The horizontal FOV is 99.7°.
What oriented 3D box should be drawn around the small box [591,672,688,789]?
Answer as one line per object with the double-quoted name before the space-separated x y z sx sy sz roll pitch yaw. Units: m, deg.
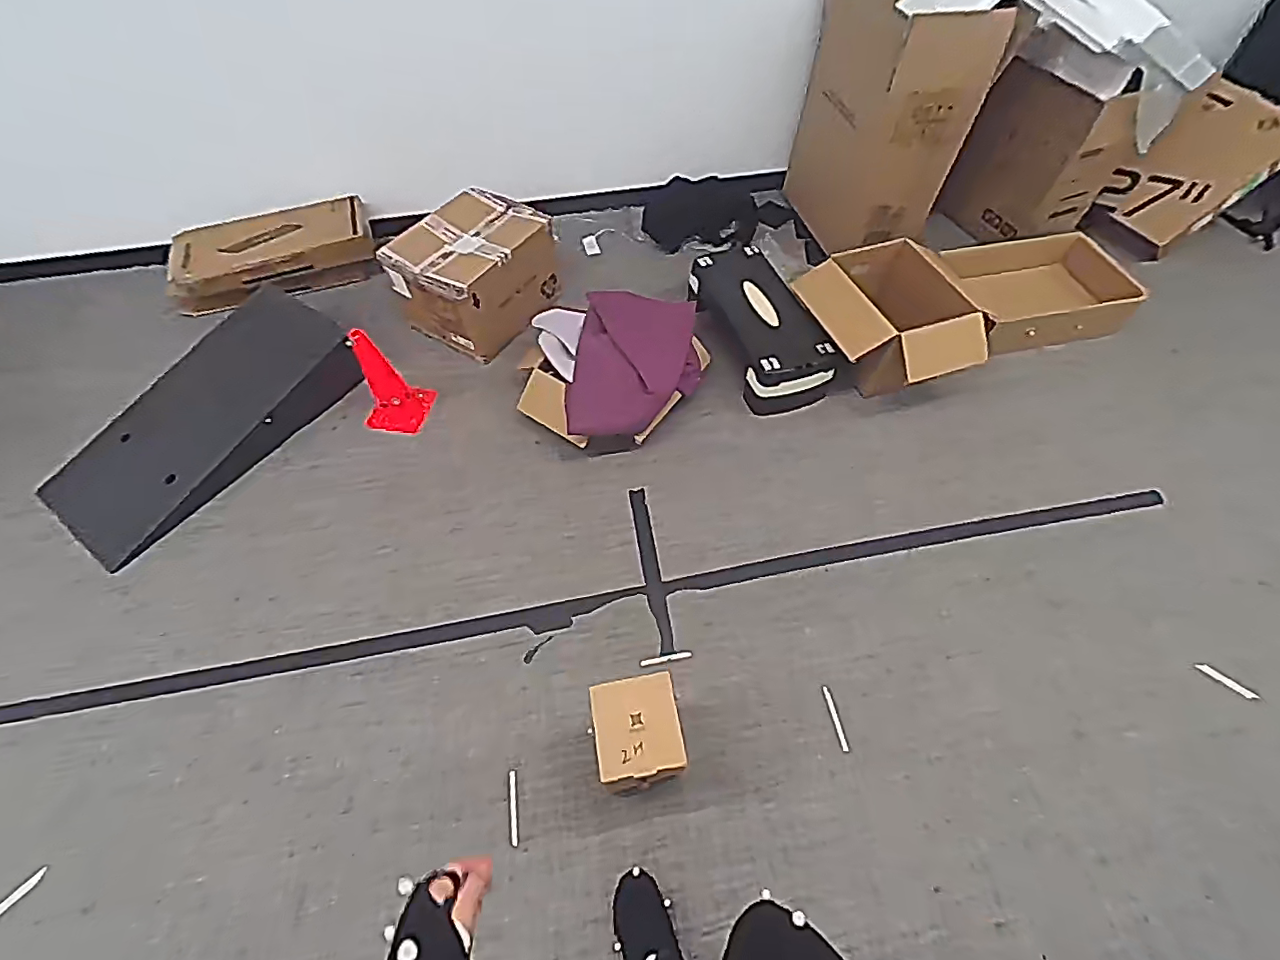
"small box" -0.005 0.513 1.101 0.168 0.176 0.179 -9 58 -5
